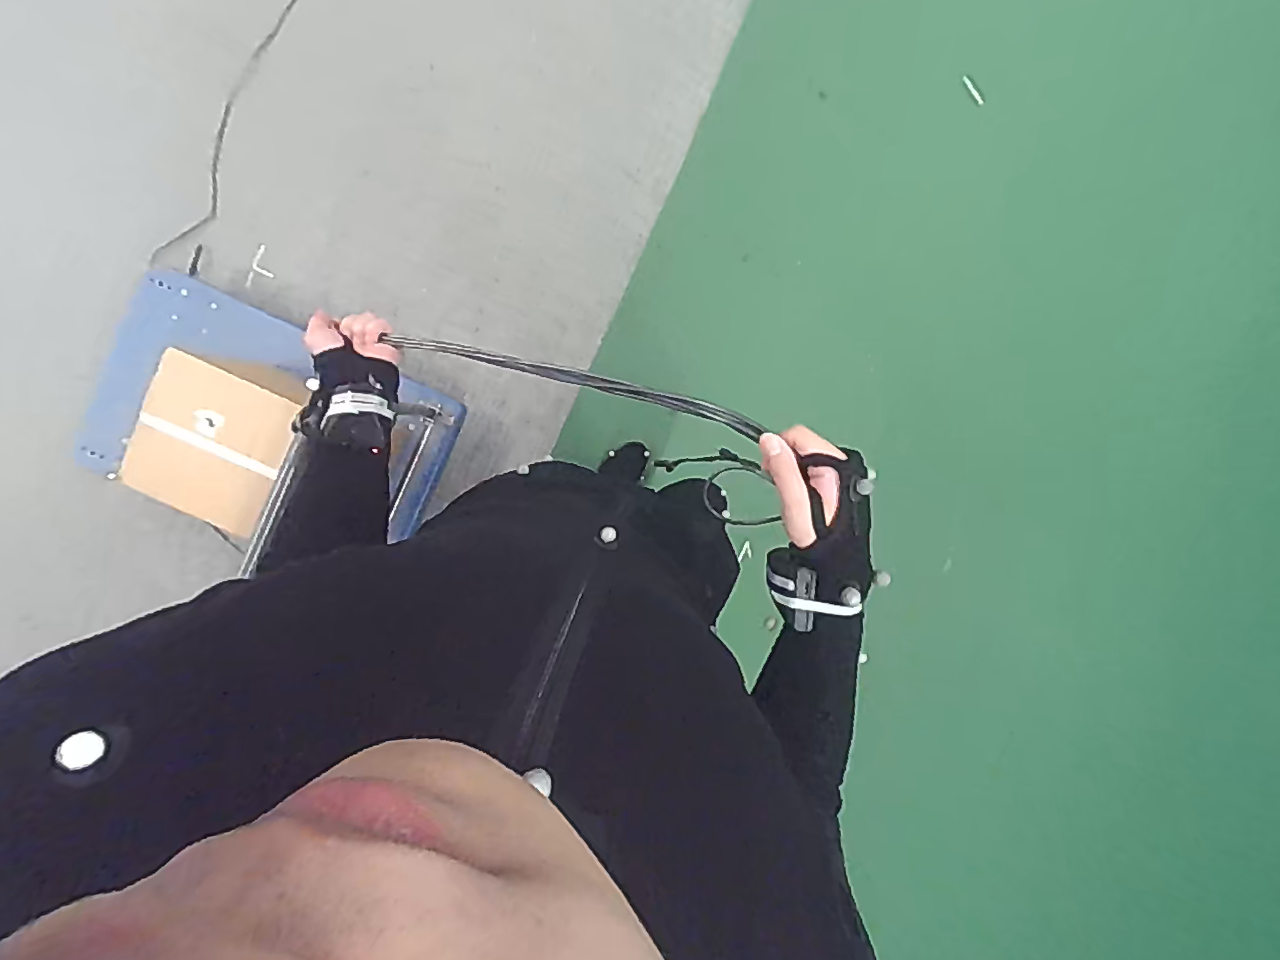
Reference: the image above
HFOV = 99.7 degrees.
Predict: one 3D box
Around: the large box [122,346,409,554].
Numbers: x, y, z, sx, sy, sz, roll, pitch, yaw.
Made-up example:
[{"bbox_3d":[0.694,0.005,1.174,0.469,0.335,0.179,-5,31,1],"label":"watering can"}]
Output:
[{"bbox_3d":[-0.838,-0.071,1.268,0.408,0.320,0.320,25,94,-2],"label":"large box"}]
